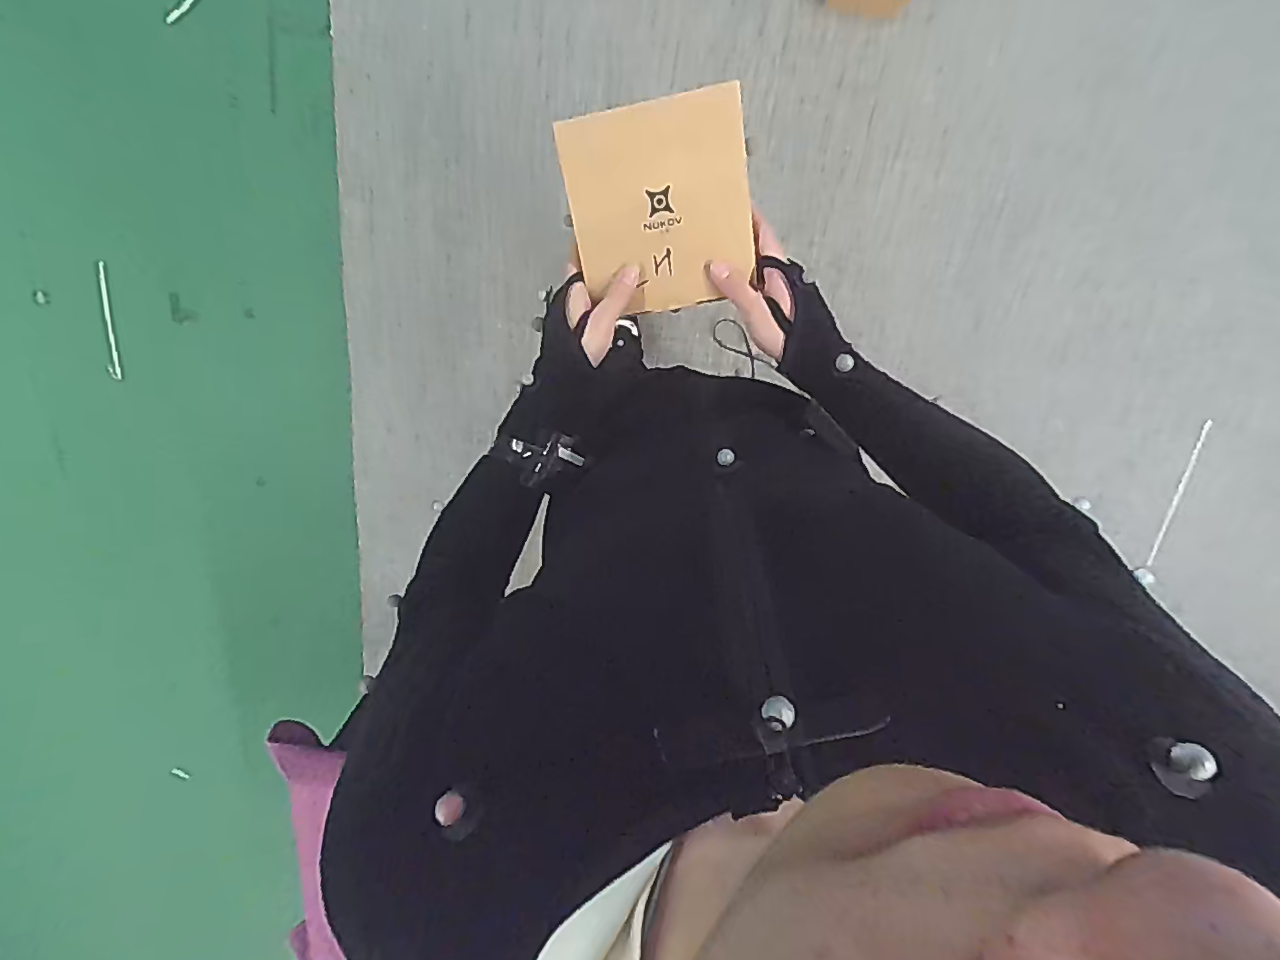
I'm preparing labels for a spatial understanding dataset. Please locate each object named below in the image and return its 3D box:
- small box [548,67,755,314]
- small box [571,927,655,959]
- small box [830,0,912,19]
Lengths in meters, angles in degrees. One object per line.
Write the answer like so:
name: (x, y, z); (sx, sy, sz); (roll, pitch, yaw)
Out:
small box: (0.019, -0.280, 0.556); (0.168, 0.176, 0.179); (-8, 114, 8)
small box: (-0.062, 1.070, 1.119); (0.179, 0.176, 0.168); (4, 108, -1)
small box: (0.538, -1.151, 1.176); (0.179, 0.176, 0.168); (8, 107, -3)
